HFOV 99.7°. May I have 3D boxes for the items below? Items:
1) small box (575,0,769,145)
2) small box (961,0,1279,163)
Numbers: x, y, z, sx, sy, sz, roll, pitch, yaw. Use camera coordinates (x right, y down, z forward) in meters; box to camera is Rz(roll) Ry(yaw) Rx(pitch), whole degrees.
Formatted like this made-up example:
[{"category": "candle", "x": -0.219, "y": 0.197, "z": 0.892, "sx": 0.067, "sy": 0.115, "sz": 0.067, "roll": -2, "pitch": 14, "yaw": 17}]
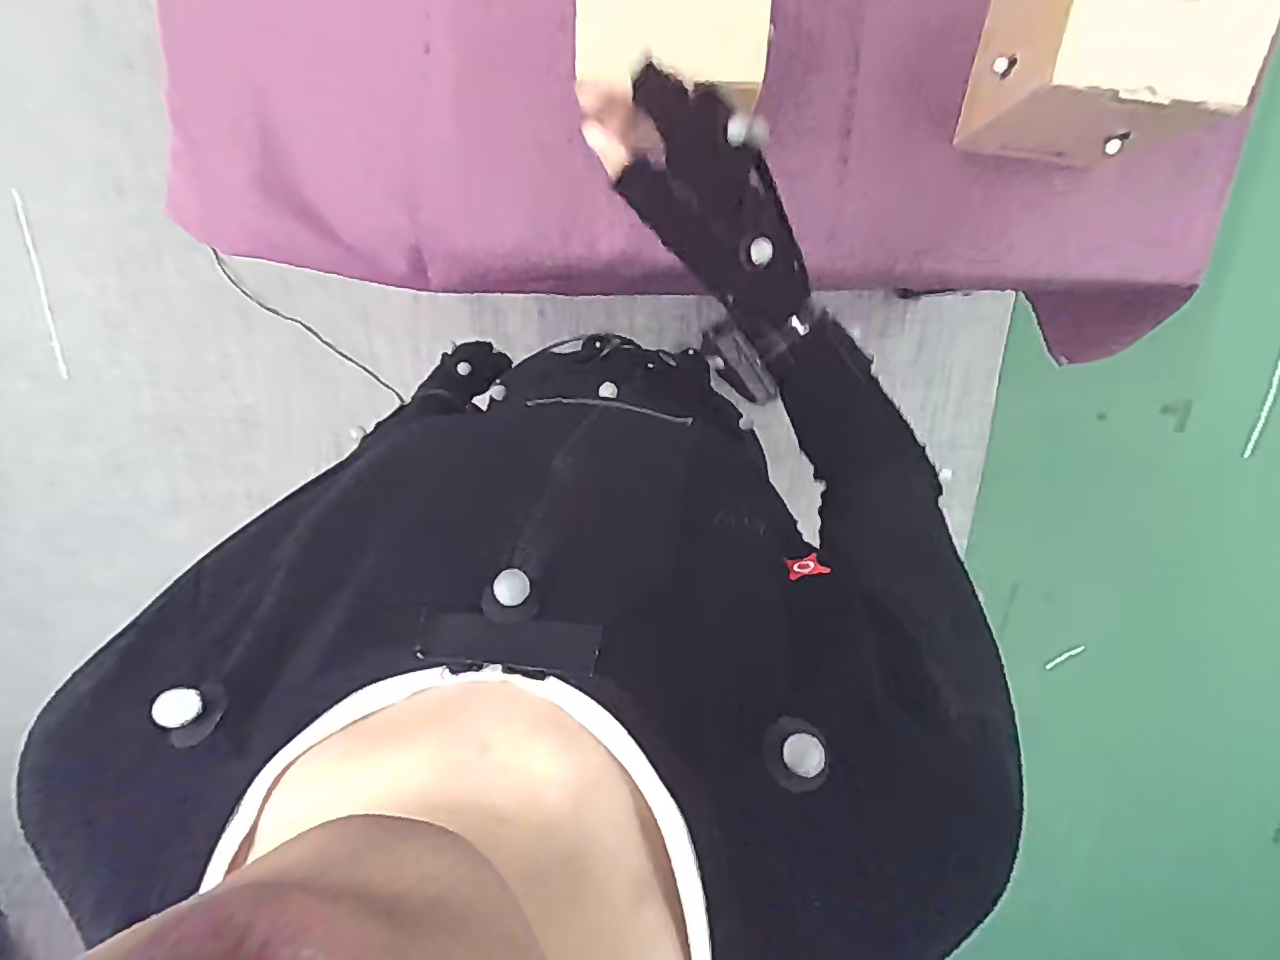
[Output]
[{"category": "small box", "x": 0.034, "y": -0.446, "z": 0.524, "sx": 0.168, "sy": 0.176, "sz": 0.179, "roll": 4, "pitch": 106, "yaw": 2}, {"category": "small box", "x": 0.439, "y": -0.422, "z": 0.507, "sx": 0.168, "sy": 0.176, "sz": 0.179, "roll": 9, "pitch": 105, "yaw": 1}]
